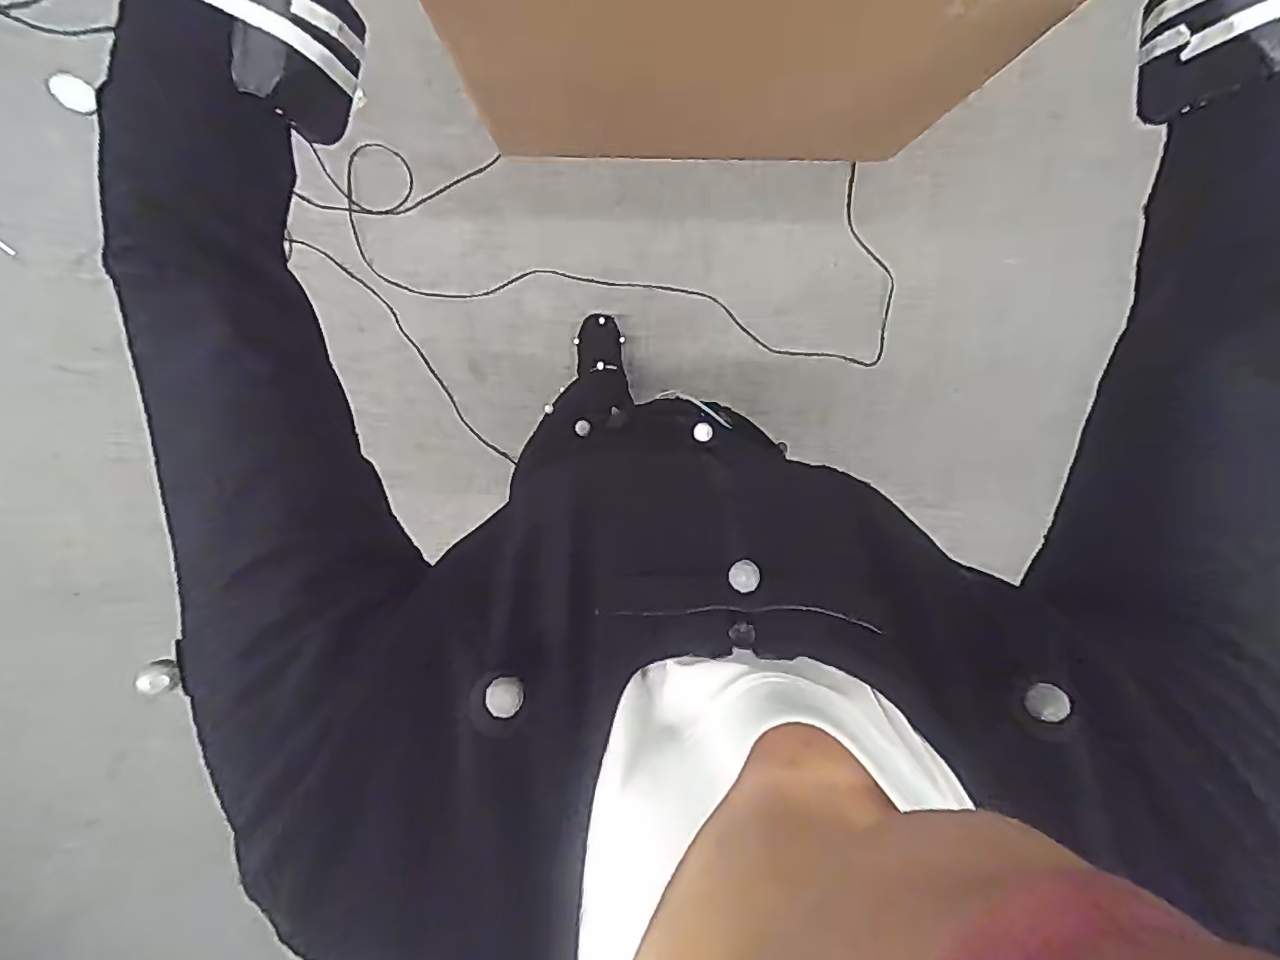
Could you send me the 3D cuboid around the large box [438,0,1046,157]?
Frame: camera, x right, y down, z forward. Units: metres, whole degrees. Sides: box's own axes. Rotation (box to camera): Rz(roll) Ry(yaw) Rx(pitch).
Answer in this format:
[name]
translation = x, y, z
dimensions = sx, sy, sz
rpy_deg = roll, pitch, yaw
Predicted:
[large box]
translation = 0.061, -0.461, 0.386
dimensions = 0.408, 0.320, 0.320
rpy_deg = -1, 100, -3
